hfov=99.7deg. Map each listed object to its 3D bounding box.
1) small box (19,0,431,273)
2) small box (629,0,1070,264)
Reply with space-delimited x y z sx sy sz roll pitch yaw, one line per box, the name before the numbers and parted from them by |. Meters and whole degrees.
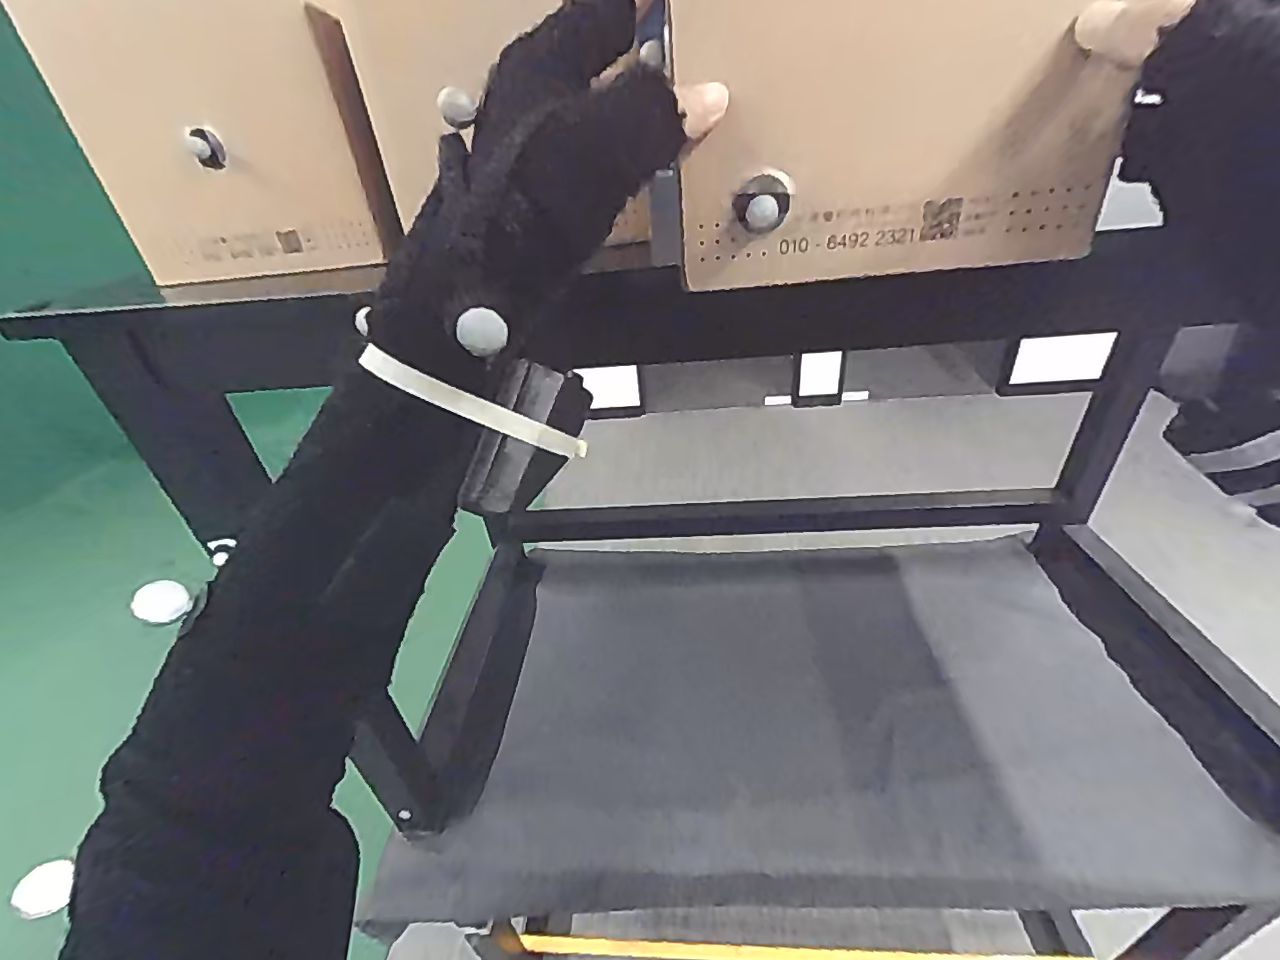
small box | -0.286 -0.269 0.432 0.168 0.176 0.179 -5 32 -1
small box | 0.084 -0.210 0.272 0.168 0.176 0.179 -3 30 6
